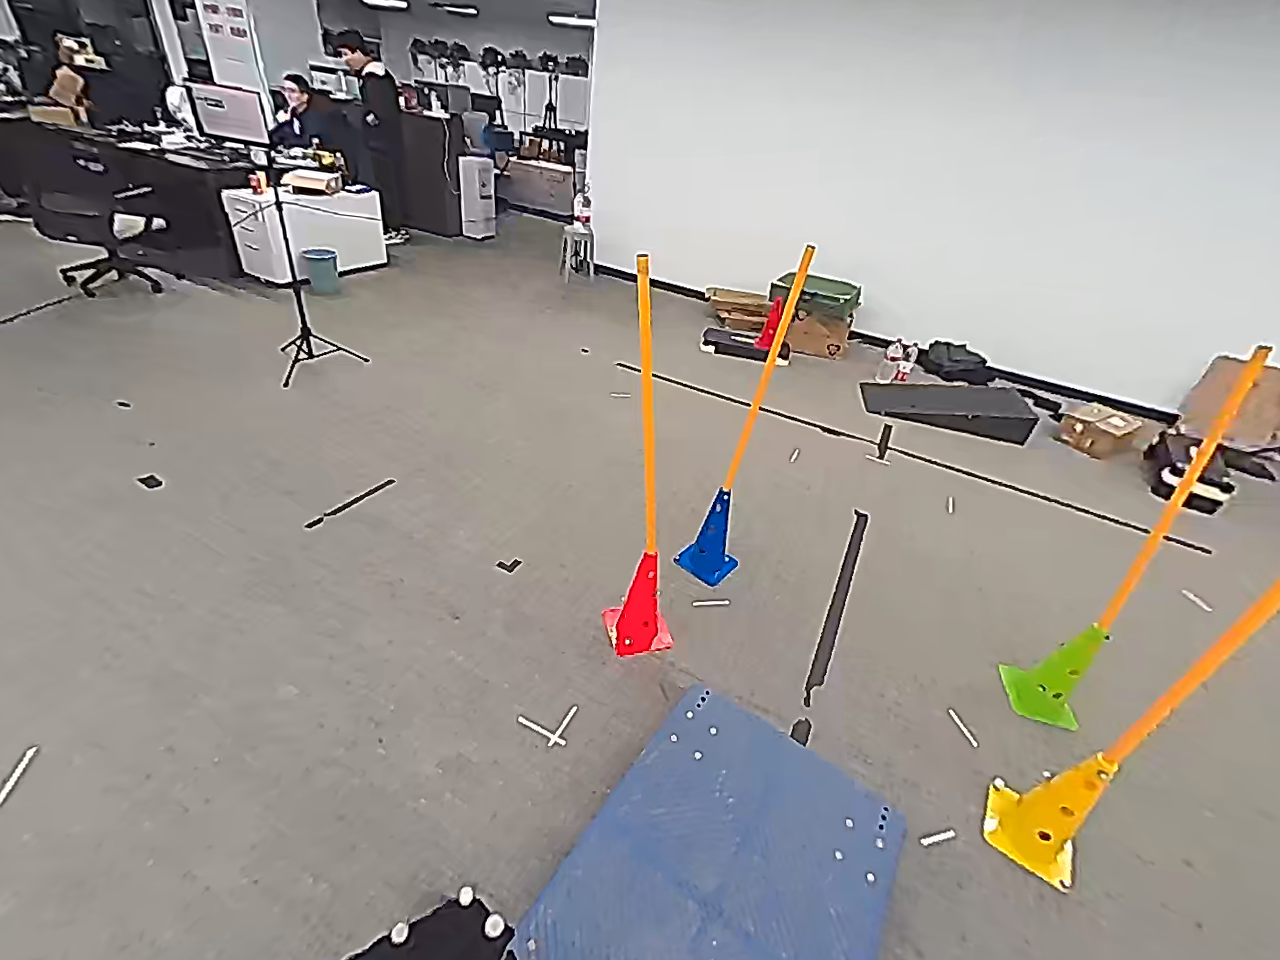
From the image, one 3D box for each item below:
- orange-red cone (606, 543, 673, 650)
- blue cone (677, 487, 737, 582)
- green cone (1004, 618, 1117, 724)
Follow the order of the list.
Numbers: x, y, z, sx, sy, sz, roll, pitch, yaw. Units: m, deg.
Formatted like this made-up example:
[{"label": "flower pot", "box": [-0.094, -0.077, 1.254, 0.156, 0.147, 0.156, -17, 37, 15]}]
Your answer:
[{"label": "orange-red cone", "box": [0.021, 0.342, 1.715, 0.199, 0.360, 0.198, -3, 37, -19]}, {"label": "blue cone", "box": [0.286, 0.181, 2.032, 0.193, 0.380, 0.192, 32, 41, 30]}, {"label": "green cone", "box": [1.351, 0.560, 1.690, 0.200, 0.368, 0.202, 13, 36, 7]}]
